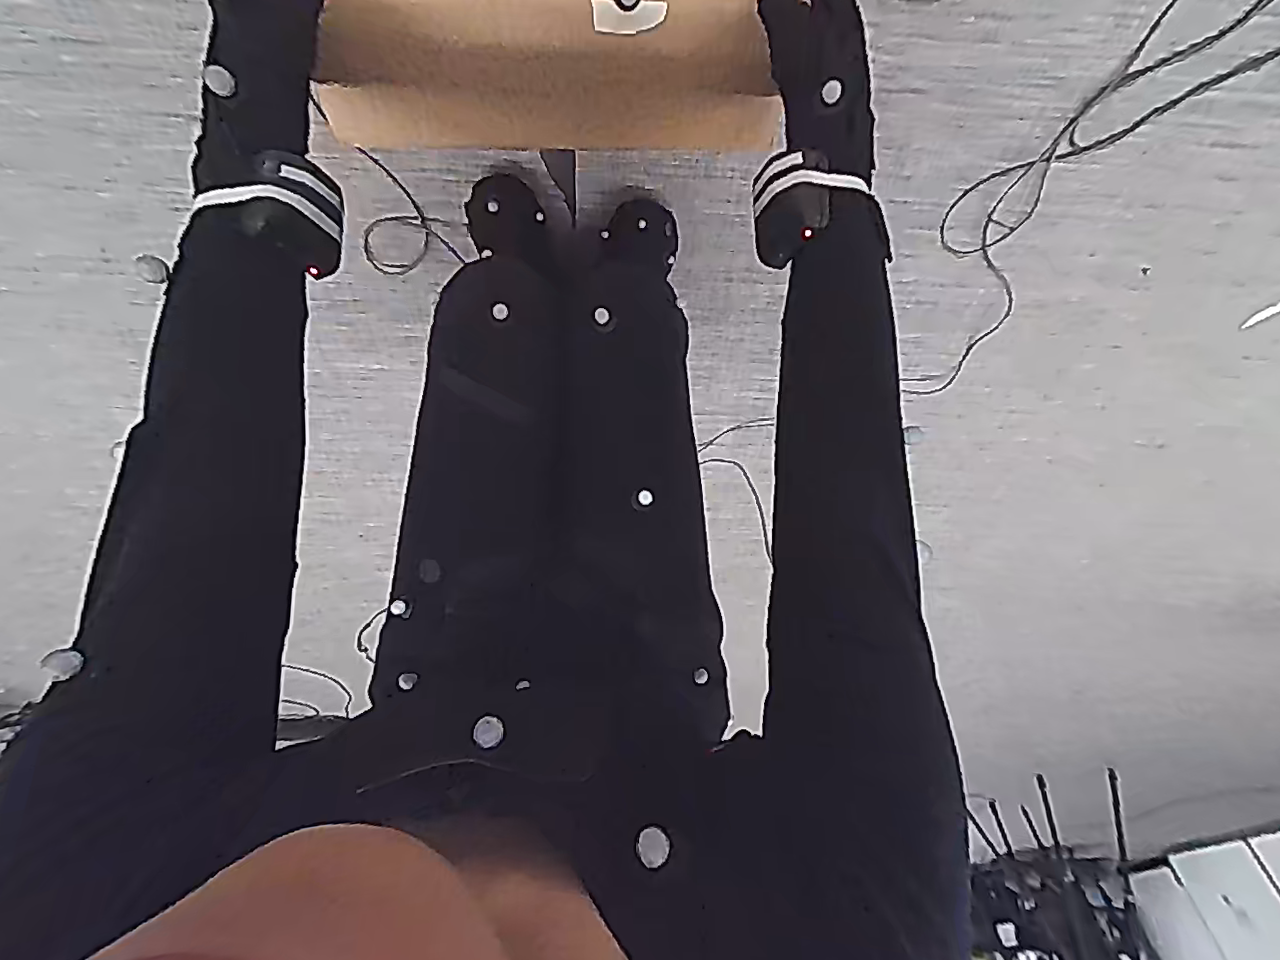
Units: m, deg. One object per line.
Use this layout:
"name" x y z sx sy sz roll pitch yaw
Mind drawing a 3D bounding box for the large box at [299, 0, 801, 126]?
"large box" -0.075 -0.537 0.471 0.408 0.320 0.320 -1 141 -2
